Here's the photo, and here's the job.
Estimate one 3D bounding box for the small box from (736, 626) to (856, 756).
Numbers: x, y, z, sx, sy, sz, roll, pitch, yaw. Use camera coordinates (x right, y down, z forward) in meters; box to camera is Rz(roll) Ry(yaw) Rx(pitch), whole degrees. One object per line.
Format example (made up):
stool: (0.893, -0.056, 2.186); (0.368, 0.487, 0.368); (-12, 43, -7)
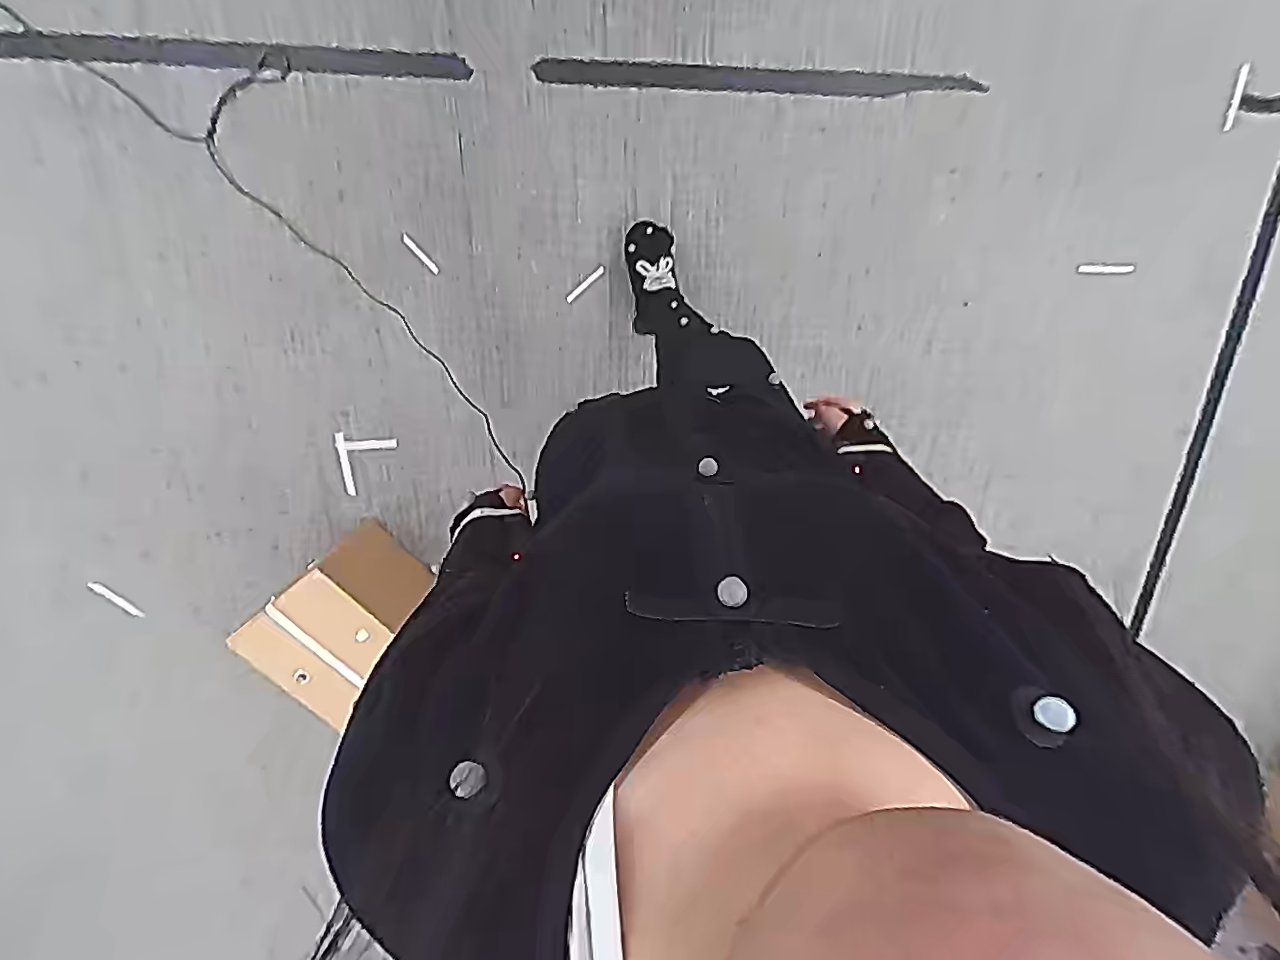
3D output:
small box: (0.343, 0.468, 1.219); (0.168, 0.176, 0.179); (-40, 107, 9)
